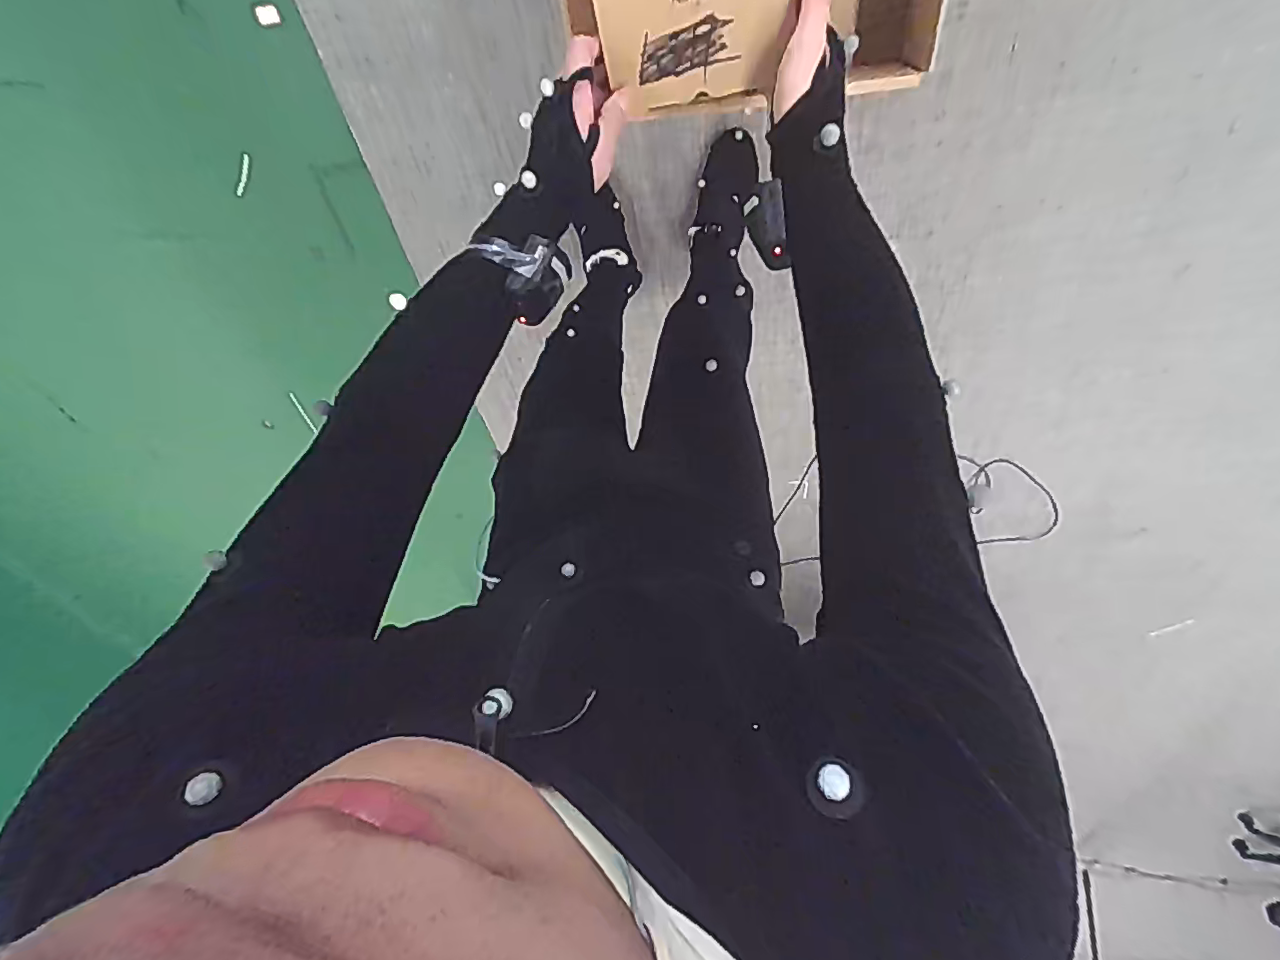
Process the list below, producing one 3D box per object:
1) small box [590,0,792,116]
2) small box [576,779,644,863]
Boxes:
[{"bbox_3d":[0.048,-0.461,0.475,0.168,0.176,0.179,-2,142,12],"label":"small box"},{"bbox_3d":[-0.087,1.047,1.668,0.179,0.176,0.168,5,133,7],"label":"small box"}]
